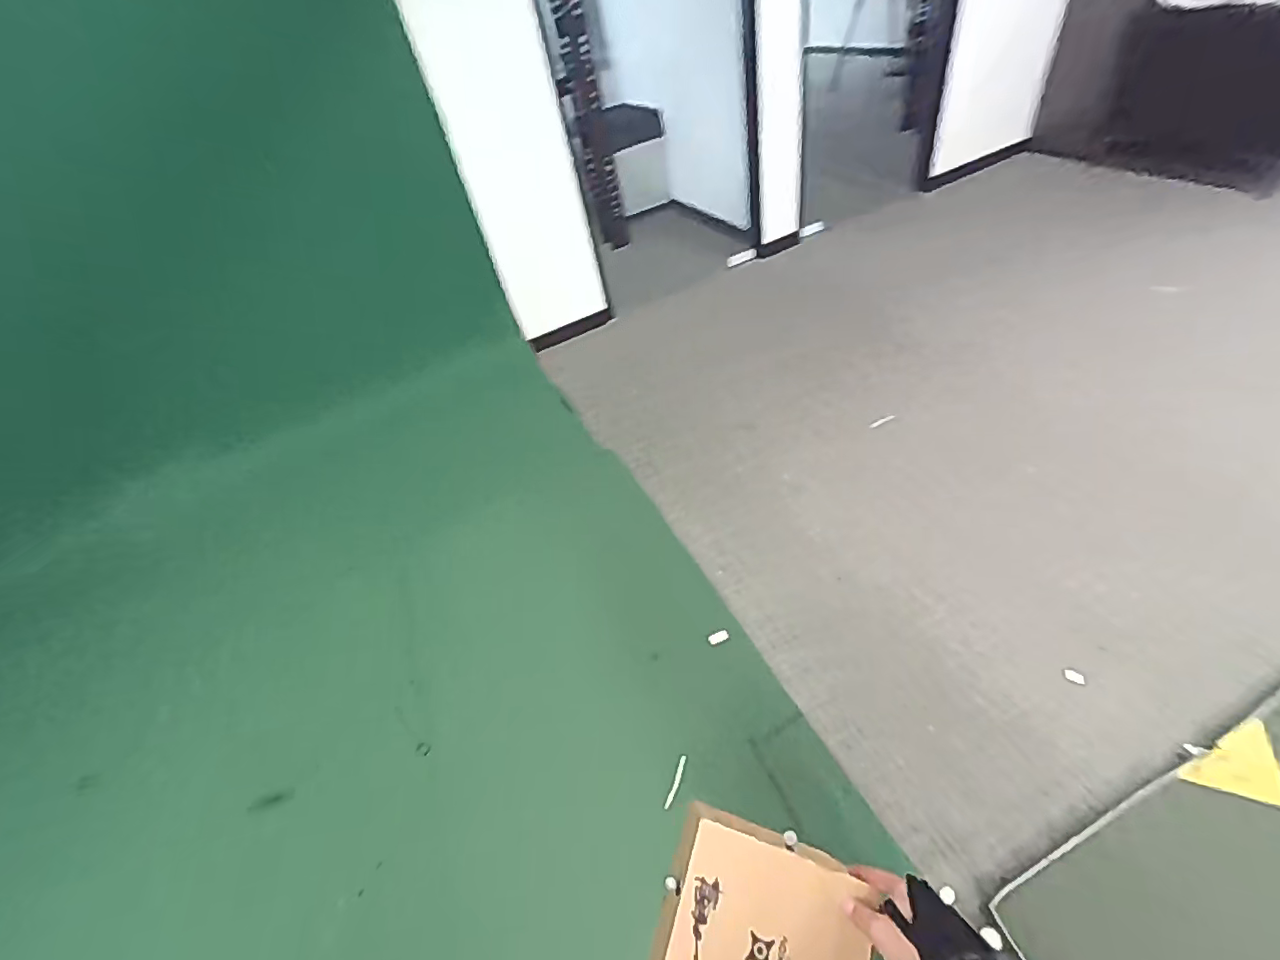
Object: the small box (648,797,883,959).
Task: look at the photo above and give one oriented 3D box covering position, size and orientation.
[{"bbox_3d":[0.116,0.446,0.552,0.179,0.176,0.168,18,66,9],"label":"small box"}]
